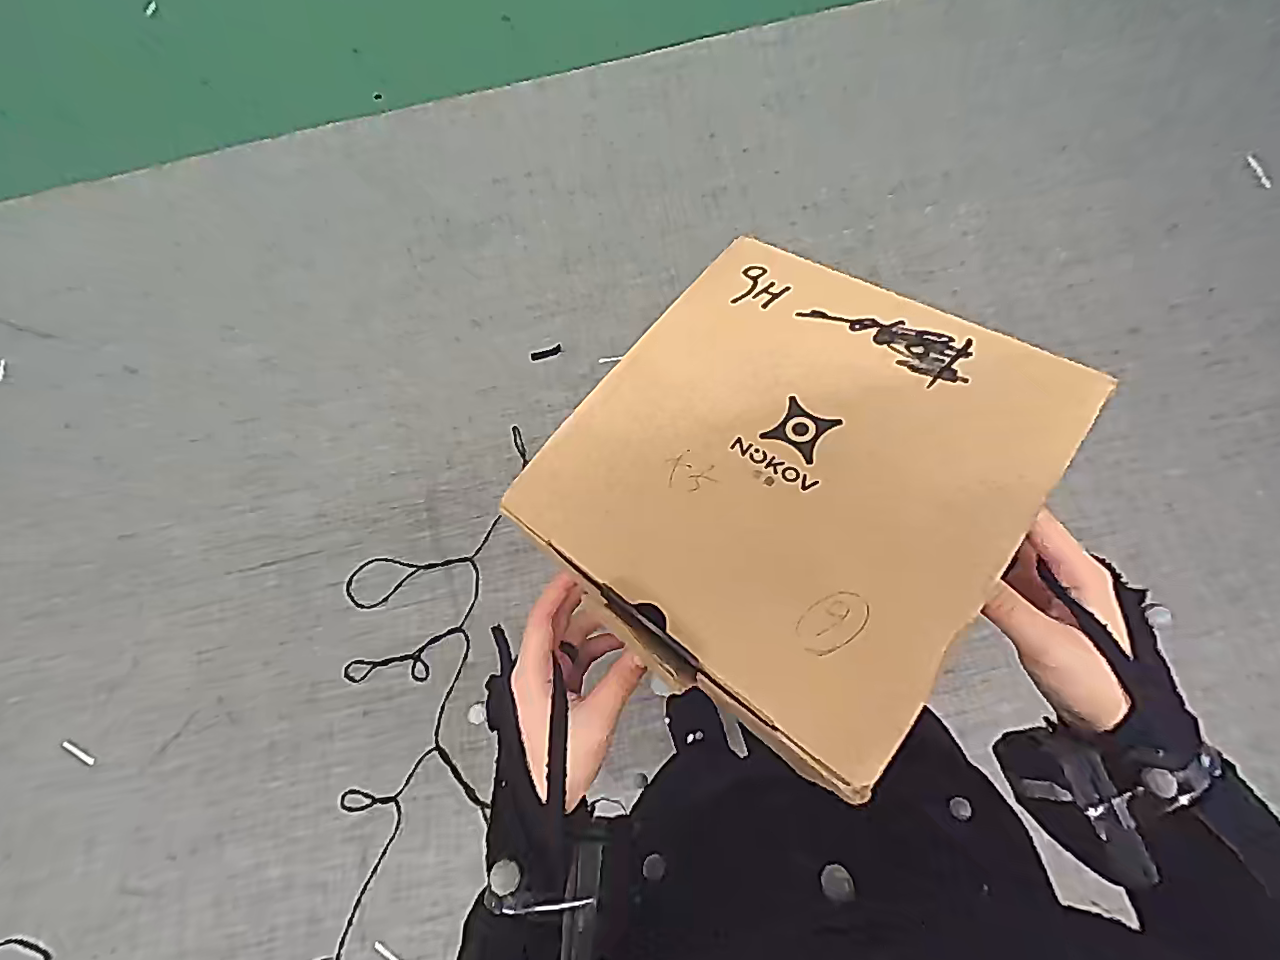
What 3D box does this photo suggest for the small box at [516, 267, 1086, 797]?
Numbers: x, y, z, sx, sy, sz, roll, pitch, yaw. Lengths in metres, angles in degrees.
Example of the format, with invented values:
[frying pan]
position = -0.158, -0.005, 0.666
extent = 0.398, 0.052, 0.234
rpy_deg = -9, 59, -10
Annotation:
[small box]
position = 0.074, 0.031, 0.290
extent = 0.168, 0.176, 0.179
rpy_deg = 34, 75, 24
